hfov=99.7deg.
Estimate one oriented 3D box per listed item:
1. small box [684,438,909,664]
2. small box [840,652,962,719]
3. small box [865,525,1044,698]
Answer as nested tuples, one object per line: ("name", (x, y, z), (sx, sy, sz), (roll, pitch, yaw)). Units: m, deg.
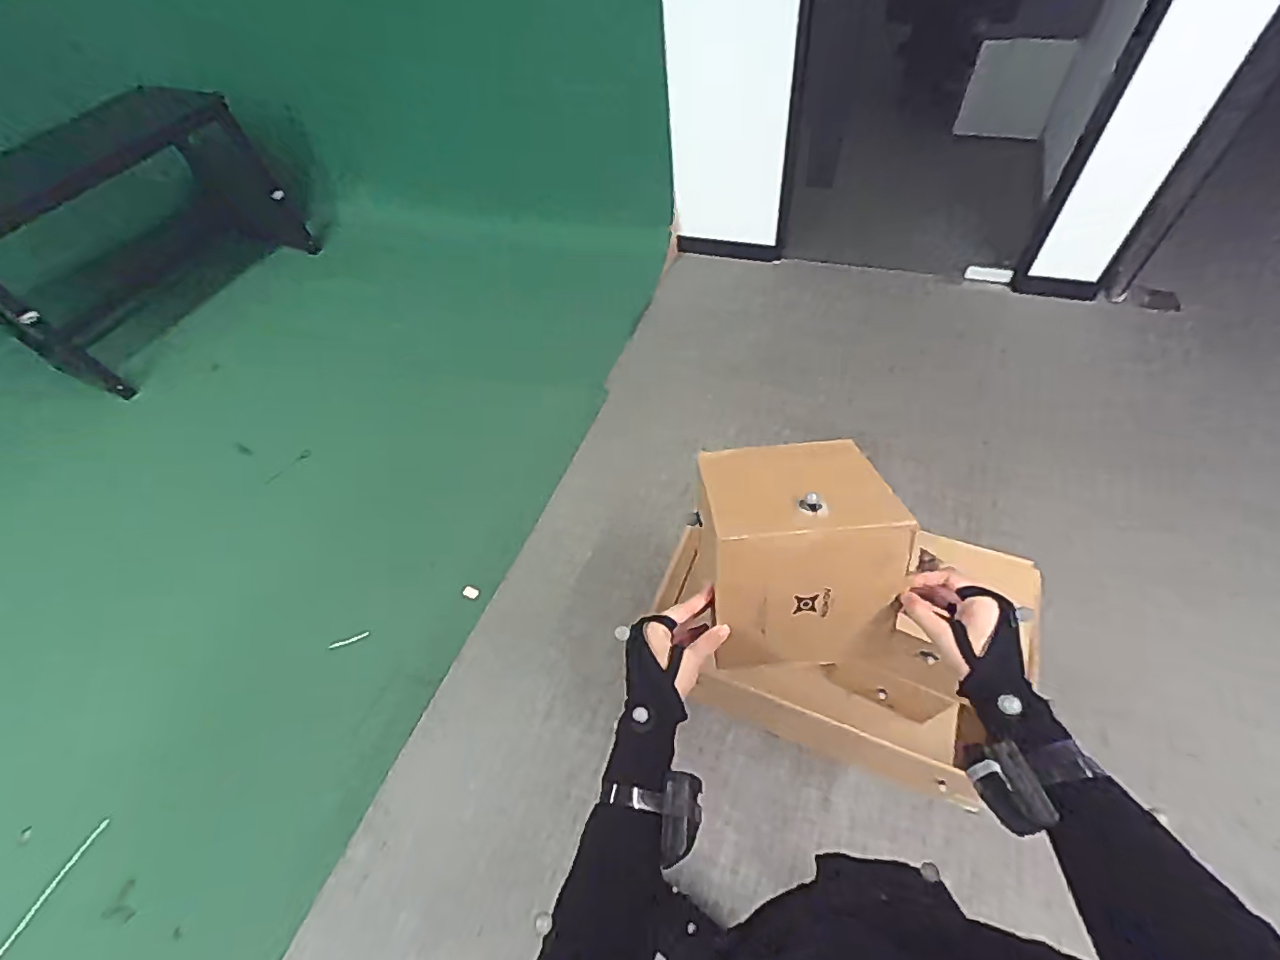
("small box", (0.144, 0.065, 0.565), (0.179, 0.168, 0.176), (-5, 29, 0))
("small box", (0.460, 0.287, 0.938), (0.168, 0.176, 0.179), (21, 61, 21))
("small box", (0.452, 0.199, 0.799), (0.179, 0.176, 0.168), (19, 60, 20))
